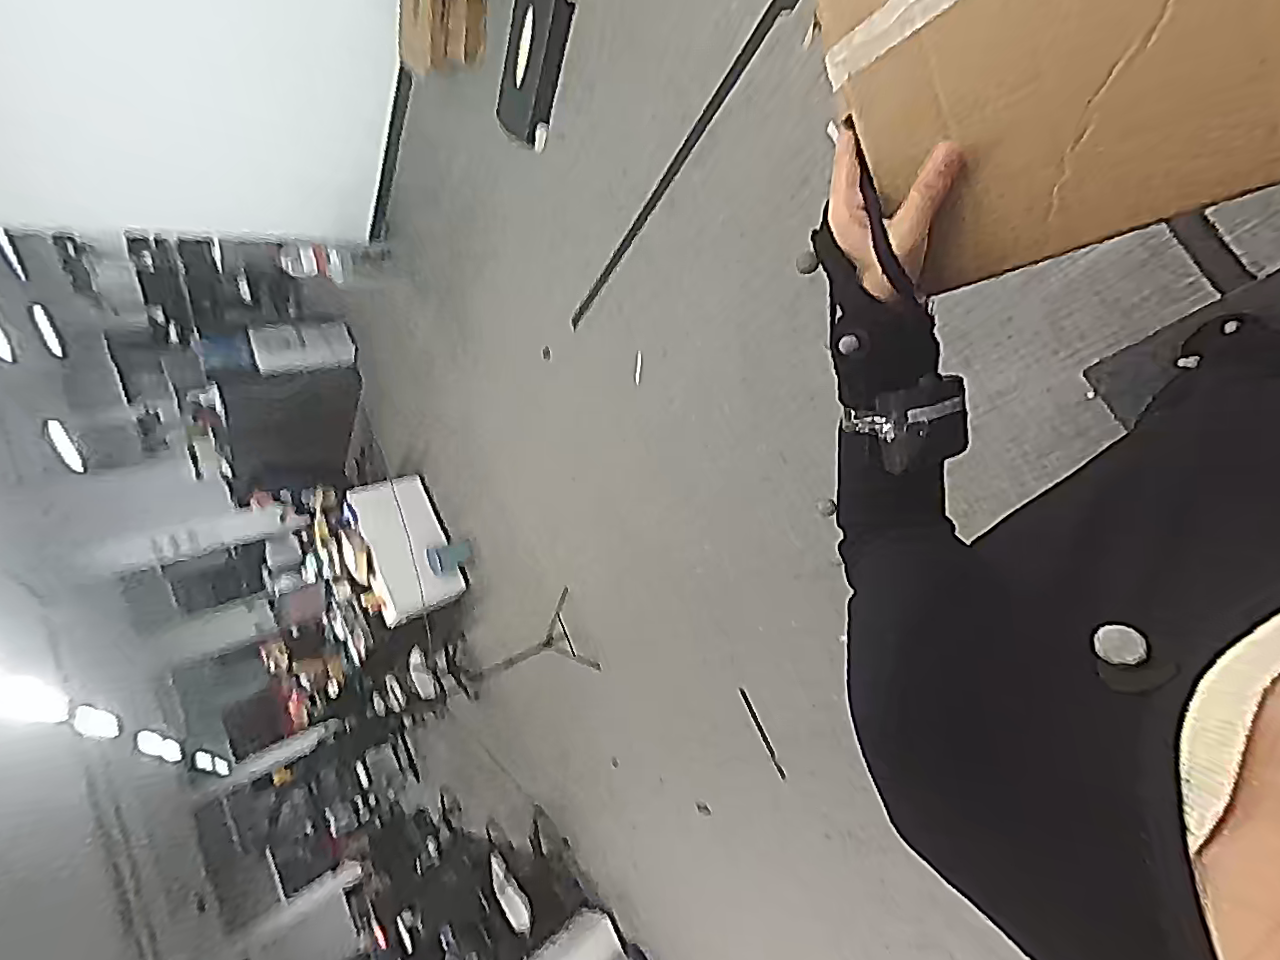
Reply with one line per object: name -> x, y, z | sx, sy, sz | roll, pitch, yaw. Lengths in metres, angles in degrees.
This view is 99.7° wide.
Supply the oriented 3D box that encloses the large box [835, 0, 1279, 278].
large box -> 0.350, -0.354, 0.265 | 0.408, 0.320, 0.320 | -6, 114, 52
